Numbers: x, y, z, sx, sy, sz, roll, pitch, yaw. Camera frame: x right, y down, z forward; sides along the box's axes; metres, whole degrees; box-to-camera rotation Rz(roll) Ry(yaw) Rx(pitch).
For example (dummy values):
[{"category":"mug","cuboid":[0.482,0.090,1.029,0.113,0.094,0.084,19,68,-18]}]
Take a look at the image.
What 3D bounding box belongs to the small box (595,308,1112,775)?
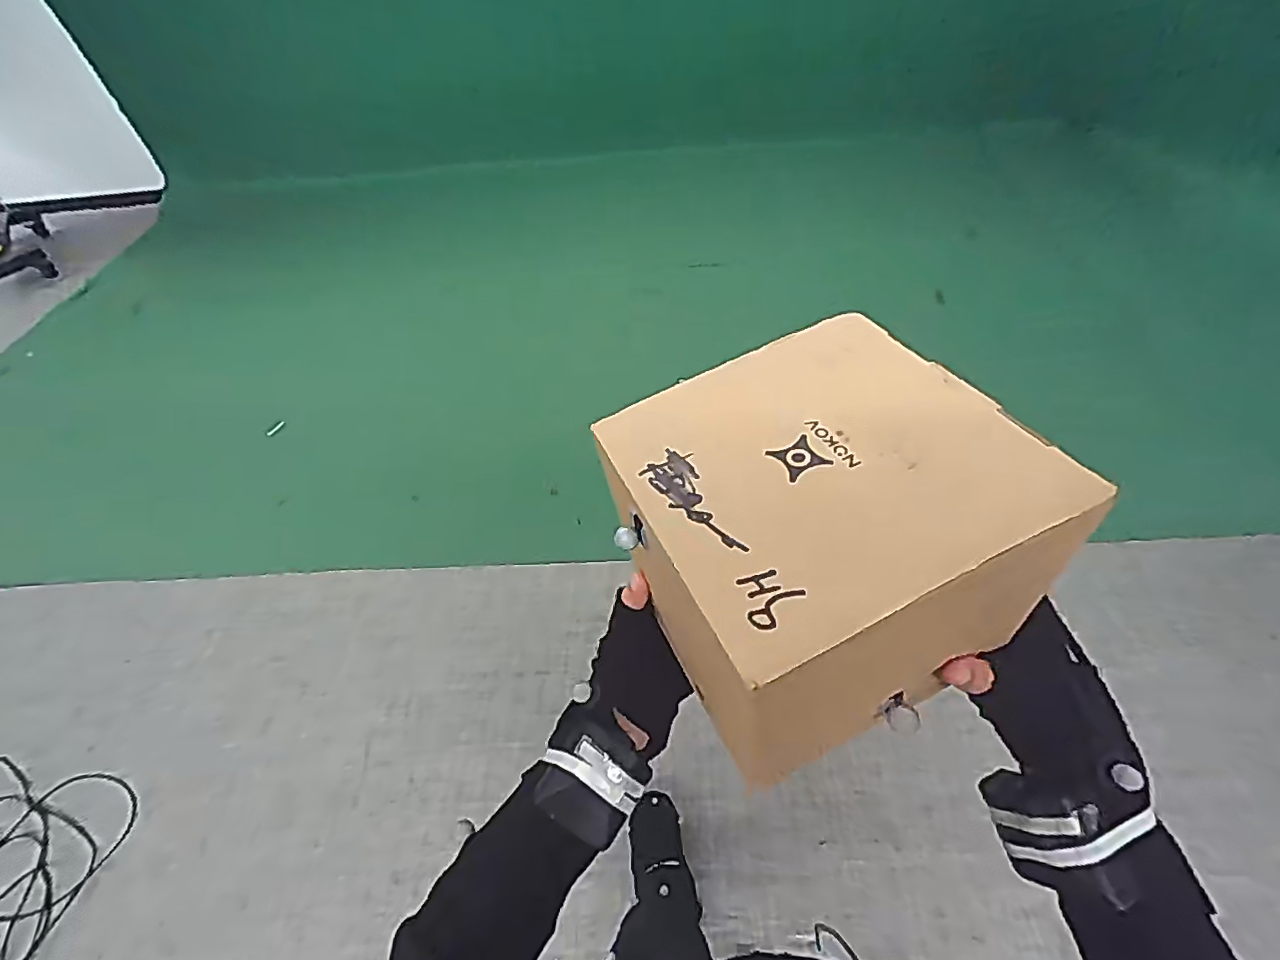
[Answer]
[{"category":"small box","cuboid":[0.094,0.036,0.314,0.179,0.176,0.168,-24,49,-10]}]
